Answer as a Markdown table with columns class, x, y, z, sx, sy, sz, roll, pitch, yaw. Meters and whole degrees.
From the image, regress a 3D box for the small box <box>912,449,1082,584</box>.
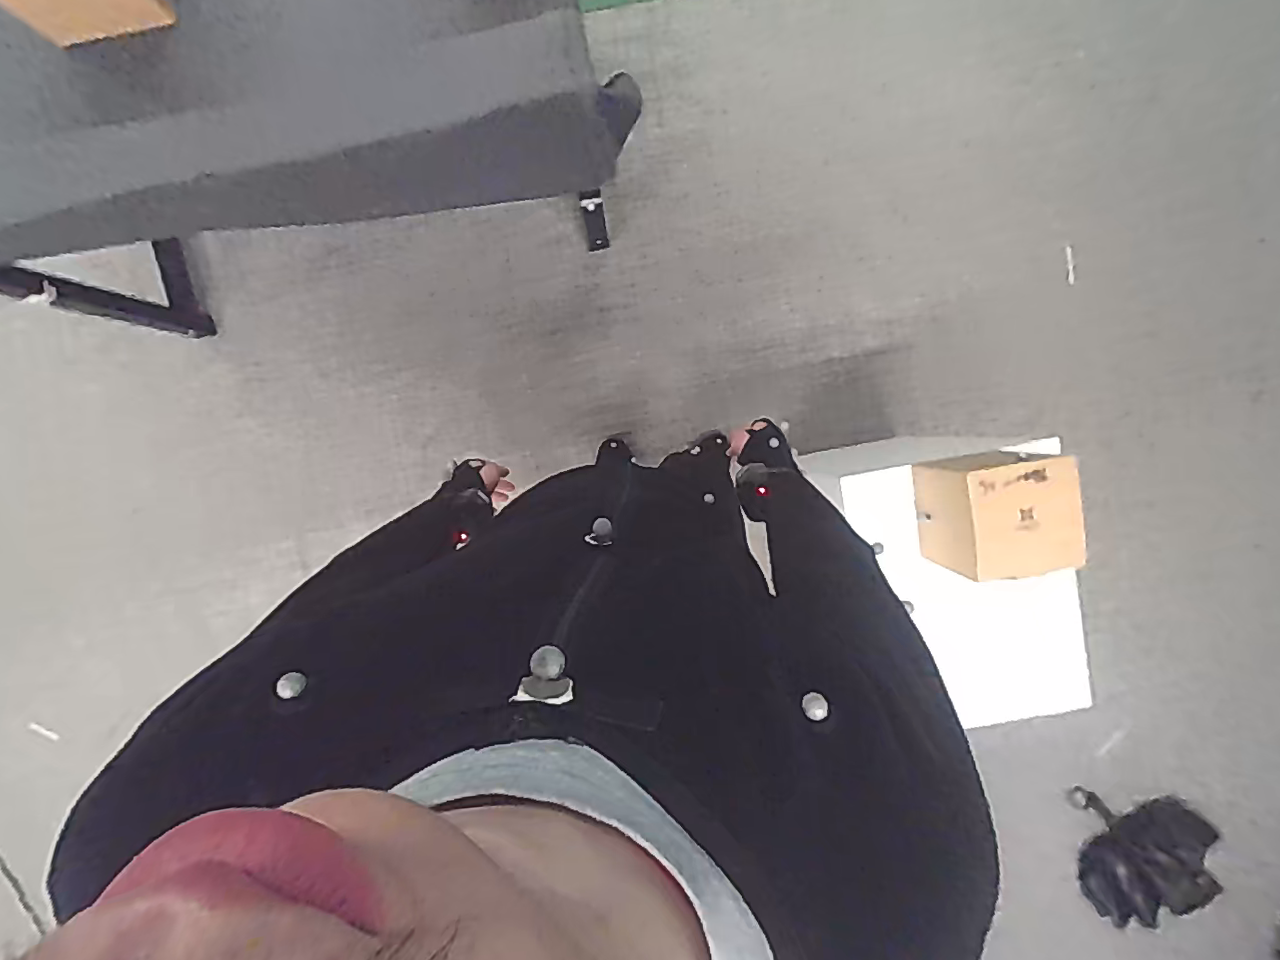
| class | x | y | z | sx | sy | sz | roll | pitch | yaw |
| --- | --- | --- | --- | --- | --- | --- | --- | --- | --- |
| small box | 0.572 | 0.051 | 0.884 | 0.168 | 0.176 | 0.179 | -9 | 97 | 1 |

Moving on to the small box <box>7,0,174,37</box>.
| class | x | y | z | sx | sy | sz | roll | pitch | yaw |
| --- | --- | --- | --- | --- | --- | --- | --- | --- | --- |
| small box | -0.755 | -0.708 | 0.681 | 0.179 | 0.176 | 0.168 | -11 | 95 | 0 |
